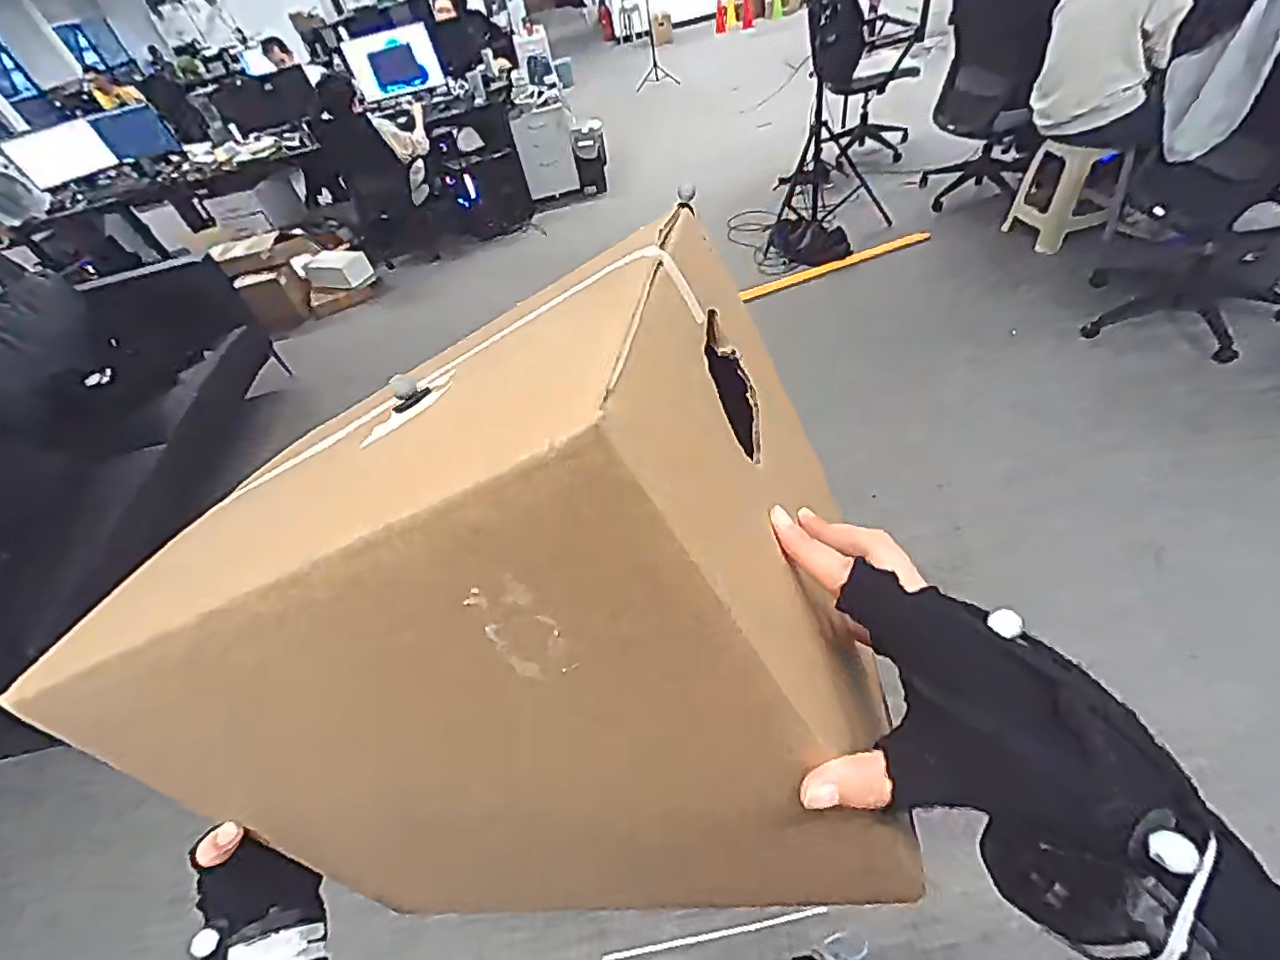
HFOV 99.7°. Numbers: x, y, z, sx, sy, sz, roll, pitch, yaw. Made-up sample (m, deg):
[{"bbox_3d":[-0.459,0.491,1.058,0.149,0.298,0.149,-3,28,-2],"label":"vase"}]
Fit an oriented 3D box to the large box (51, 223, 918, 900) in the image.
[{"bbox_3d":[-0.071,0.075,0.416,0.408,0.320,0.320,-21,30,23],"label":"large box"}]
